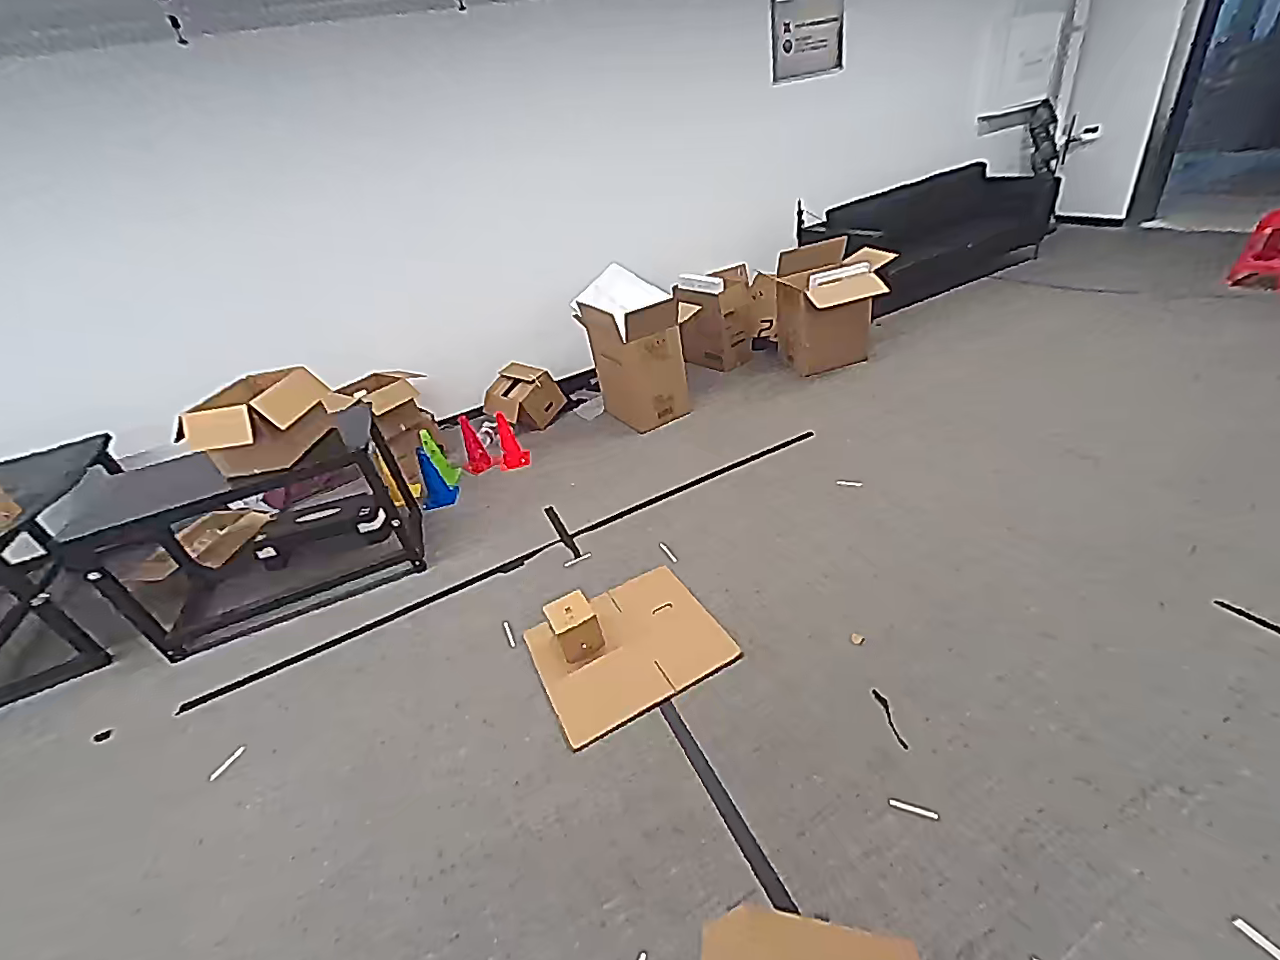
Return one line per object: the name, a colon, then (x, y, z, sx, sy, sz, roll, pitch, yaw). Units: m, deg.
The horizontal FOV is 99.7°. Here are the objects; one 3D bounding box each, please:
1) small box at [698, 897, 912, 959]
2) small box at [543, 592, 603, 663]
small box: (0.151, 0.533, 0.521, 0.179, 0.176, 0.168, 13, 45, -1)
small box: (-0.263, 0.584, 2.139, 0.168, 0.176, 0.179, -24, 35, -17)
